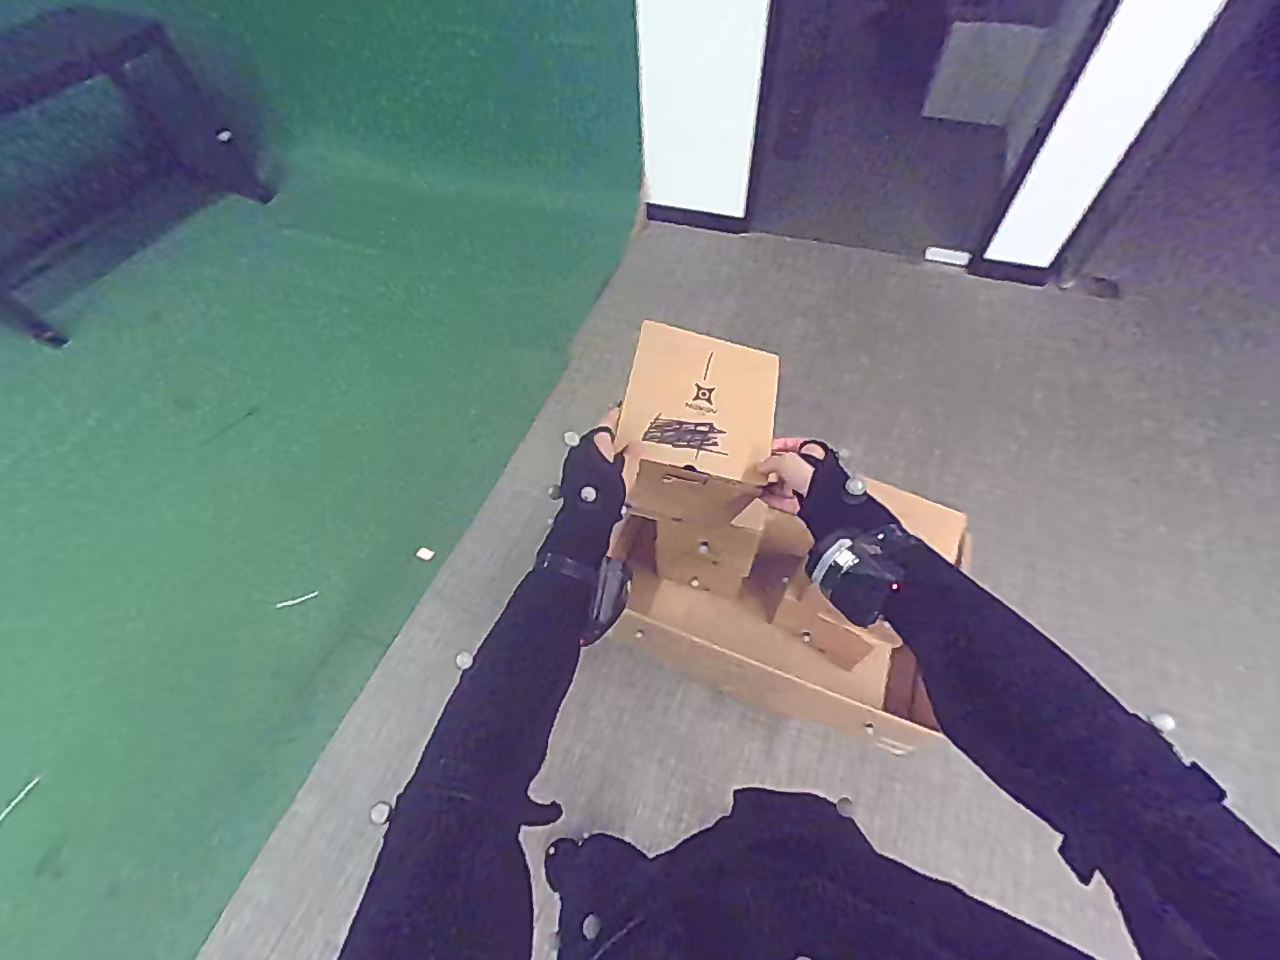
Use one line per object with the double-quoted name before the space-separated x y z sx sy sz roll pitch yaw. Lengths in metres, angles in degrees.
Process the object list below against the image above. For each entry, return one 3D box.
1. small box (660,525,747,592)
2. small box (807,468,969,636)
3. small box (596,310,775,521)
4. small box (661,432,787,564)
"small box" 0.143 0.094 1.068 0.168 0.176 0.179 15 60 13
"small box" 0.377 0.119 0.849 0.168 0.176 0.179 24 62 16
"small box" 0.046 -0.065 0.653 0.168 0.176 0.179 14 66 -5
"small box" 0.138 0.021 0.920 0.168 0.176 0.179 16 61 12
